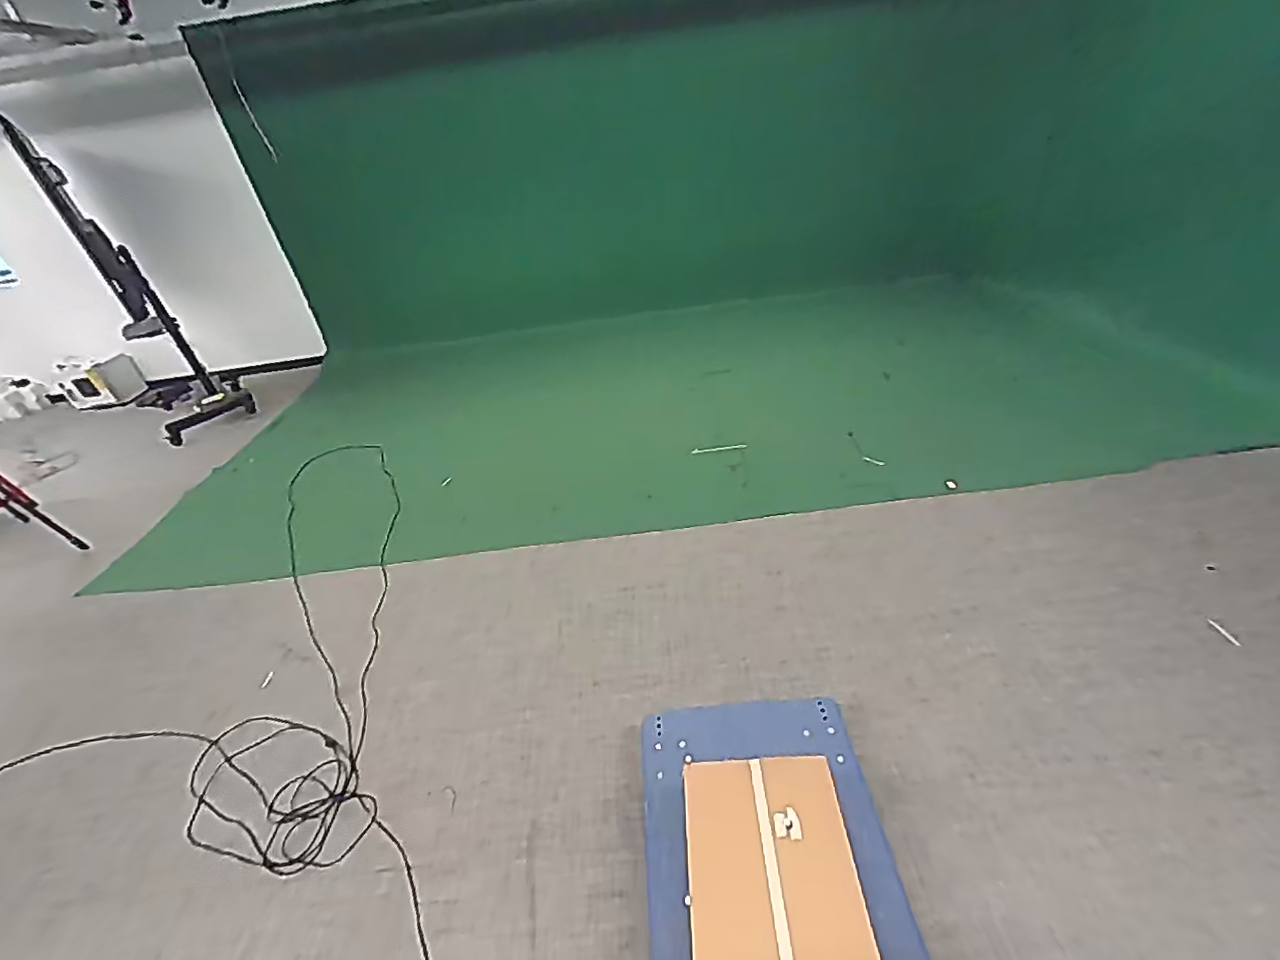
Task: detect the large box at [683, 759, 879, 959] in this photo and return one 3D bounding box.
[{"bbox_3d":[0.266,0.858,1.109,0.320,0.320,0.408,-5,34,5],"label":"large box"}]
